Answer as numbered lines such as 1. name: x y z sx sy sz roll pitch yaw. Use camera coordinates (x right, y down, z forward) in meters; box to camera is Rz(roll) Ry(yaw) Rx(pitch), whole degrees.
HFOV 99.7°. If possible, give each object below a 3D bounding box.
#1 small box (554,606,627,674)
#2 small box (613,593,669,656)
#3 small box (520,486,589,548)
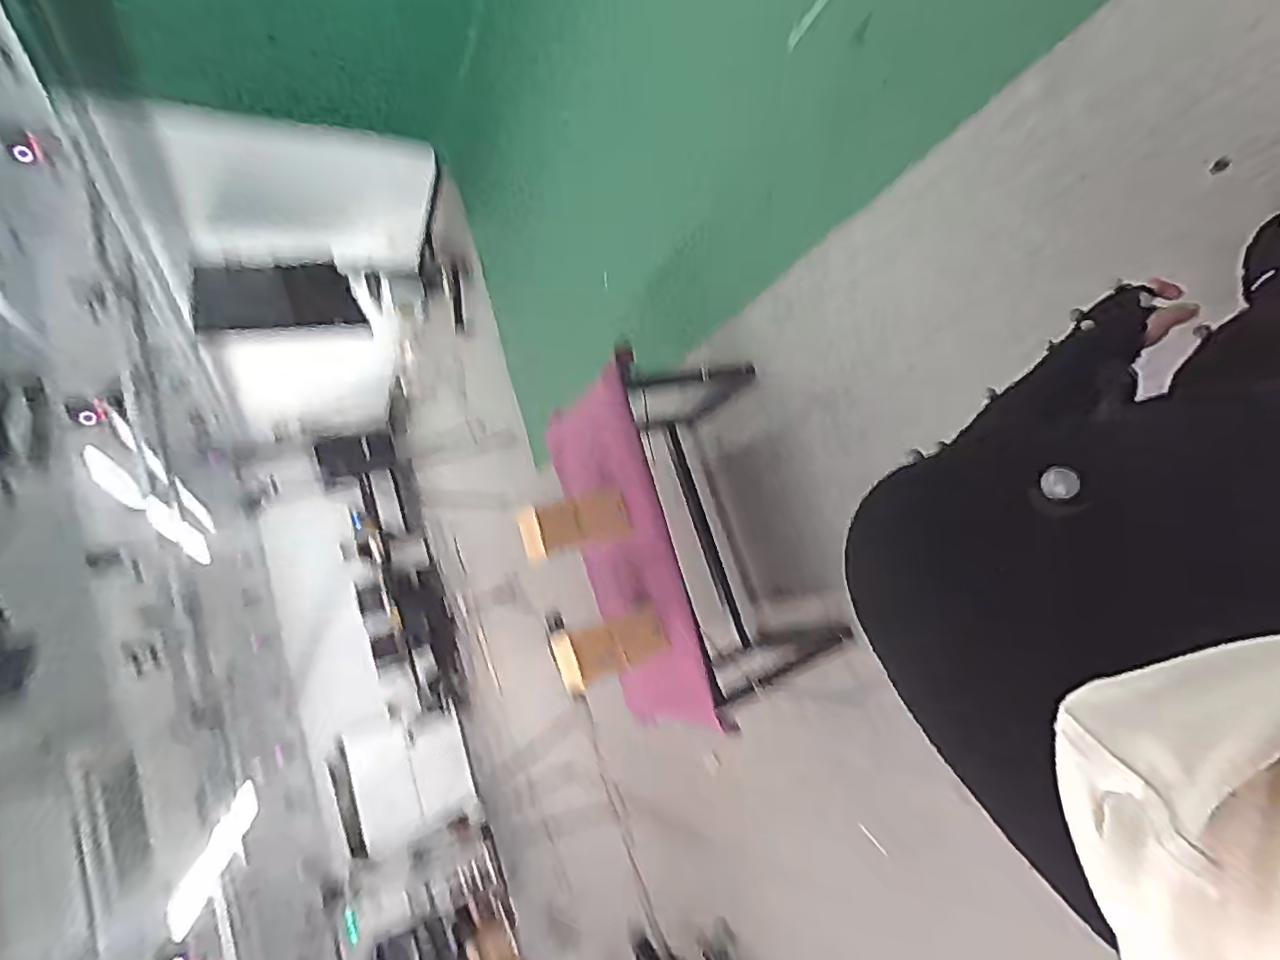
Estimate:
1. small box: -0.165 0.531 1.795 0.179 0.176 0.168 -40 66 55
2. small box: -0.026 0.503 1.876 0.179 0.176 0.168 -36 70 56
3. small box: -0.287 0.126 1.846 0.179 0.176 0.168 -24 80 58
